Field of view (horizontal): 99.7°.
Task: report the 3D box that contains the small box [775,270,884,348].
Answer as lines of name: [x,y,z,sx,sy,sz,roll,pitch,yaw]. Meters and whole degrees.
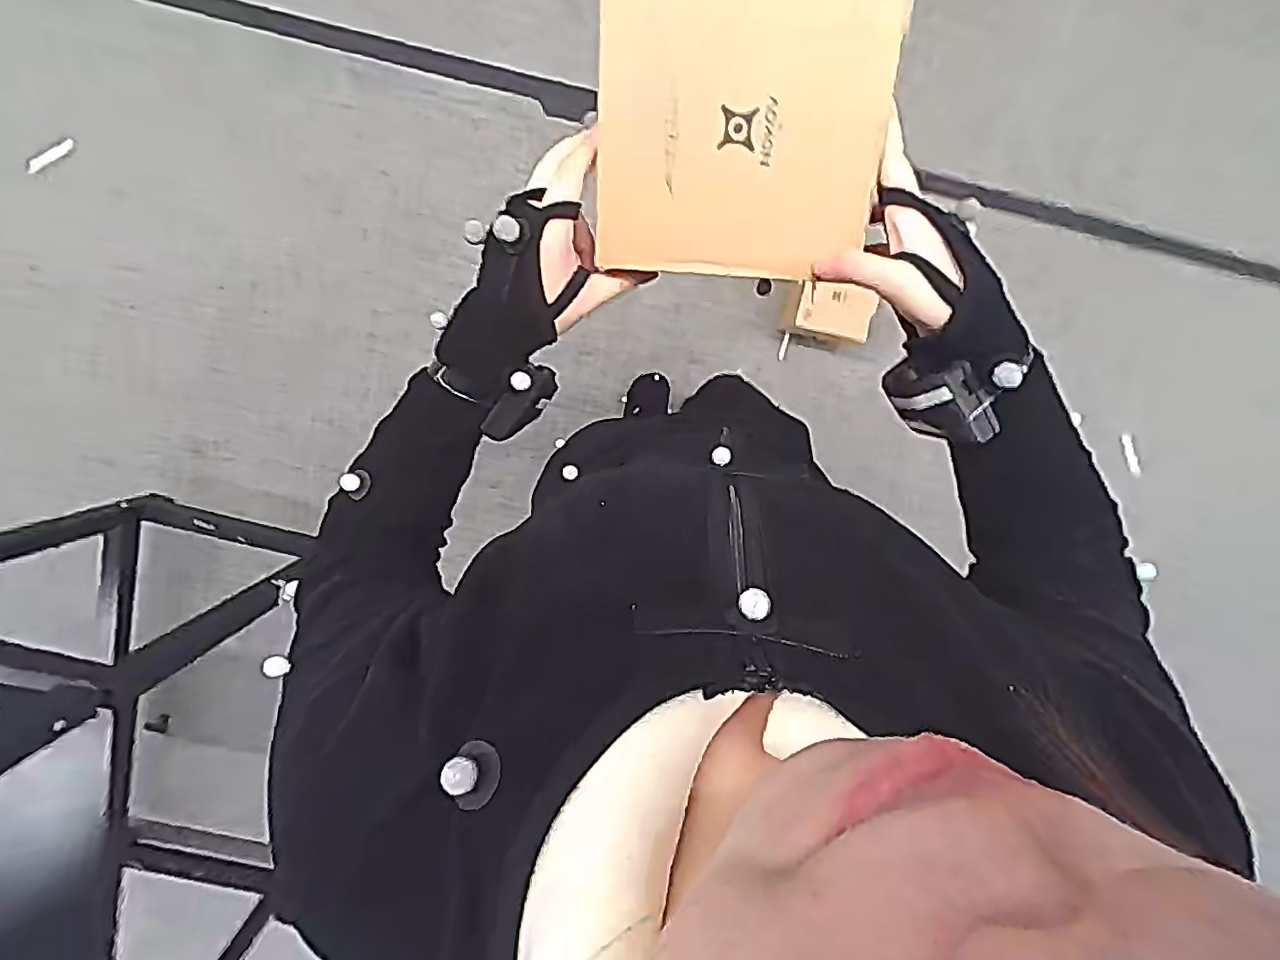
small box: [0.453,-0.425,1.322,0.179,0.176,0.168,13,101,-4]

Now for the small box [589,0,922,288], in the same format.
small box: [0.058,-0.236,0.385,0.179,0.176,0.168,3,113,-3]
